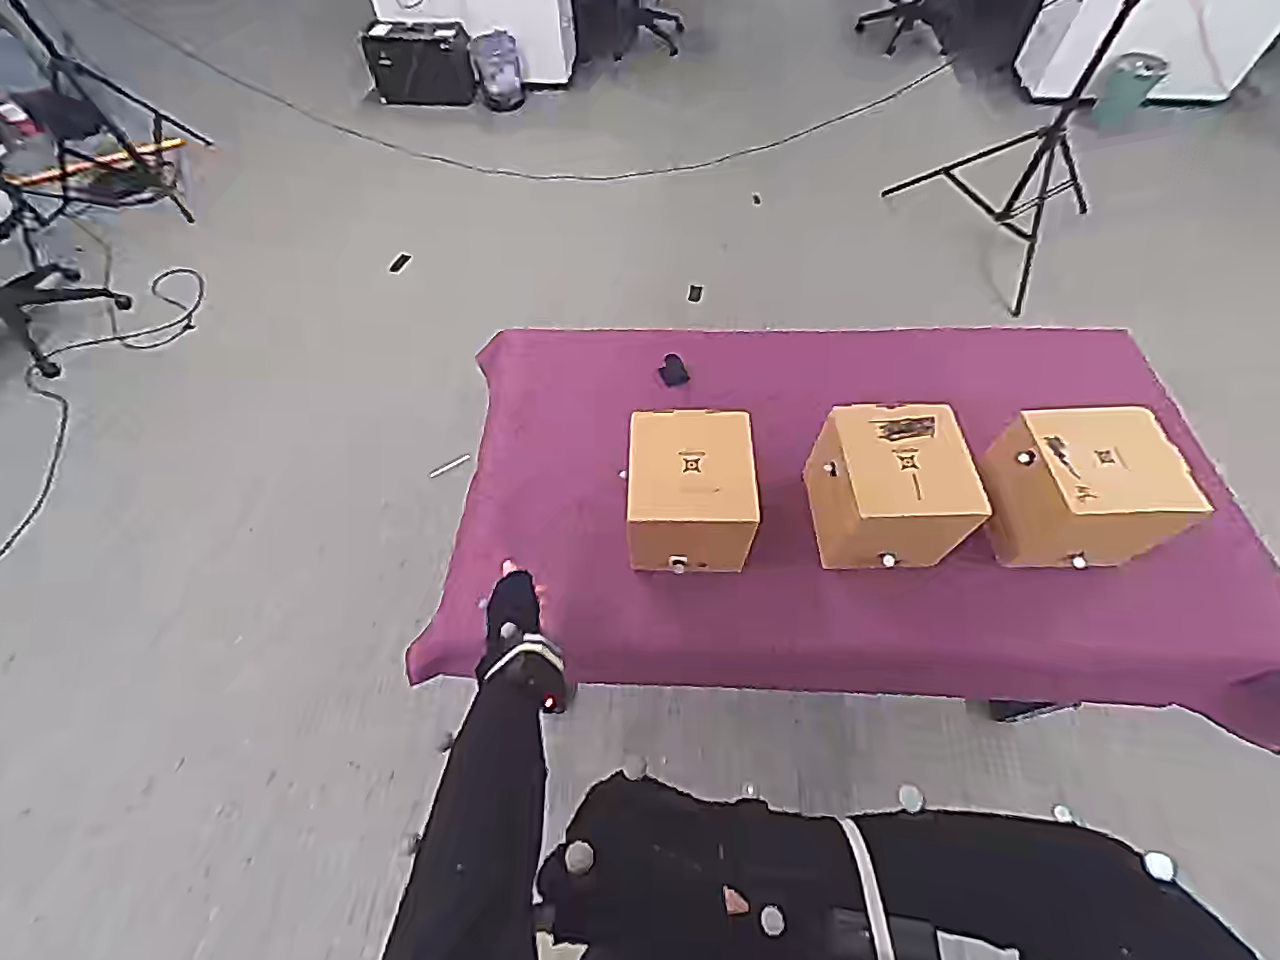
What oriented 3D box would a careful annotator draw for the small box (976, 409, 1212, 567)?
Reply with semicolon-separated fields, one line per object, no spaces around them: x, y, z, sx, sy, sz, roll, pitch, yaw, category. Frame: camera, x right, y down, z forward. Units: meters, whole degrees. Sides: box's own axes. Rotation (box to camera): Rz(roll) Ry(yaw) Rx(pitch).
0.612;0.016;0.768;0.179;0.176;0.168;-1;57;0;small box

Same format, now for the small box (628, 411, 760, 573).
0.070;0.019;0.775;0.168;0.176;0.179;-1;58;2;small box

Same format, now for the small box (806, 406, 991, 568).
0.349;0.013;0.773;0.168;0.176;0.179;-1;58;0;small box
